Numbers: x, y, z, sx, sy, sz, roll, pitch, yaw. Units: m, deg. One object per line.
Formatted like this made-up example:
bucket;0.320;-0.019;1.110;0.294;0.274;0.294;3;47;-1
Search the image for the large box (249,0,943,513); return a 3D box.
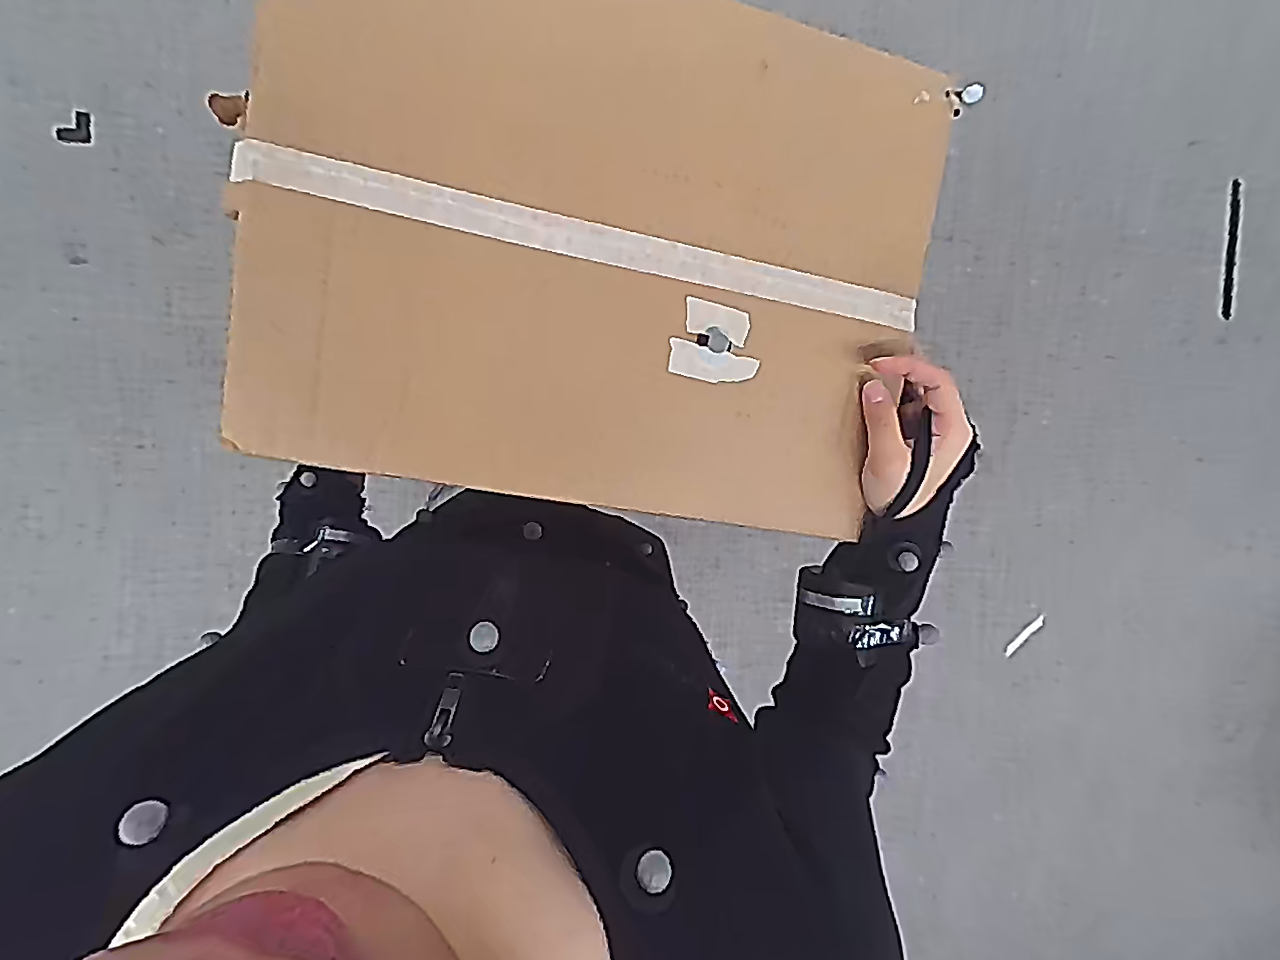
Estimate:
large box;-0.039;-0.167;0.479;0.408;0.320;0.320;9;95;-13
